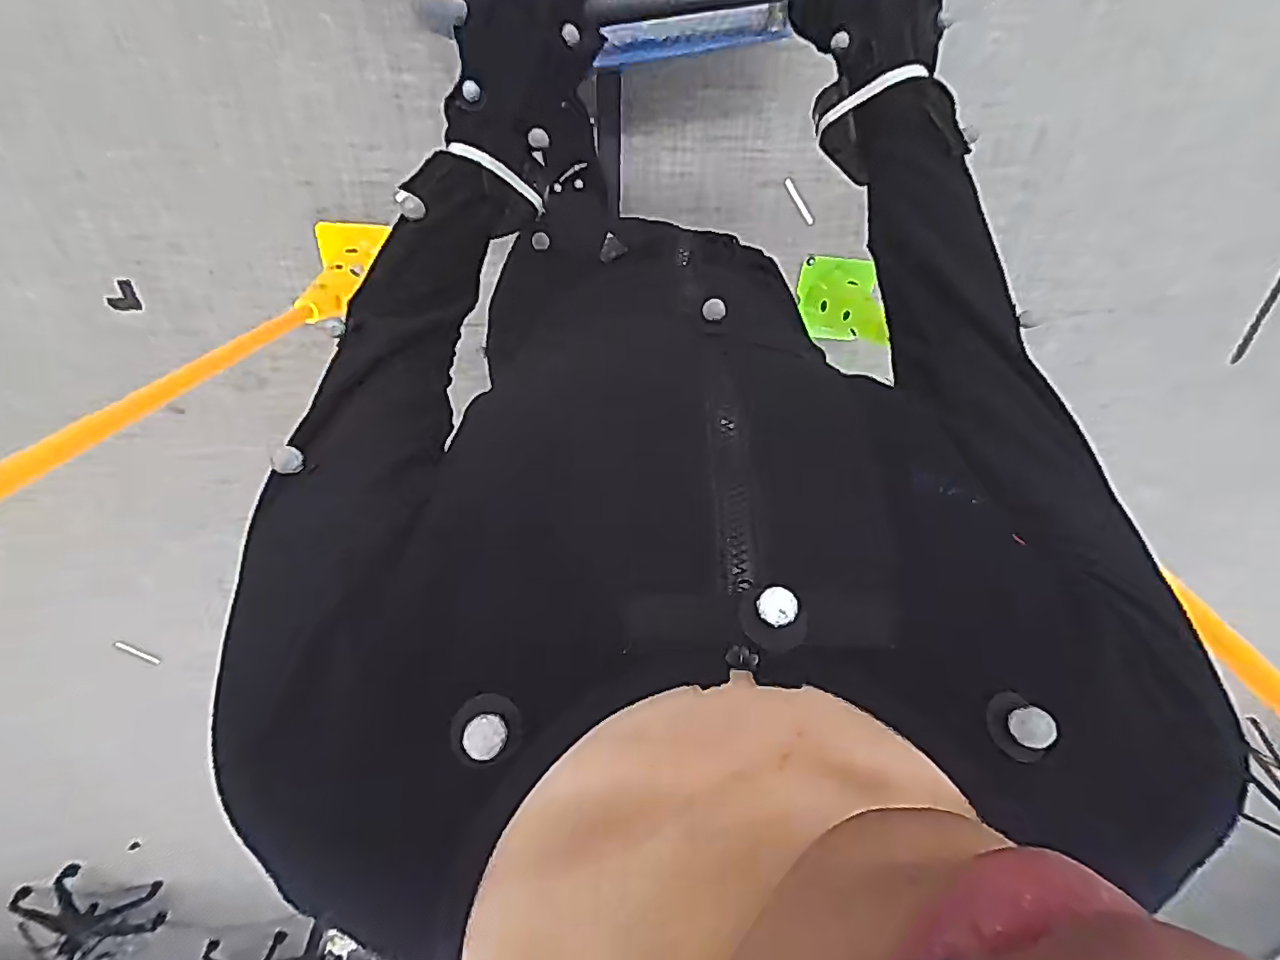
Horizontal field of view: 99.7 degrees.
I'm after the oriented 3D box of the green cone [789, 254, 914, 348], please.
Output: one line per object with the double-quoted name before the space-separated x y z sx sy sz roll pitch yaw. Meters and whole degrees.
"green cone" 0.511 -0.378 1.243 0.202 0.368 0.200 1 122 -8
